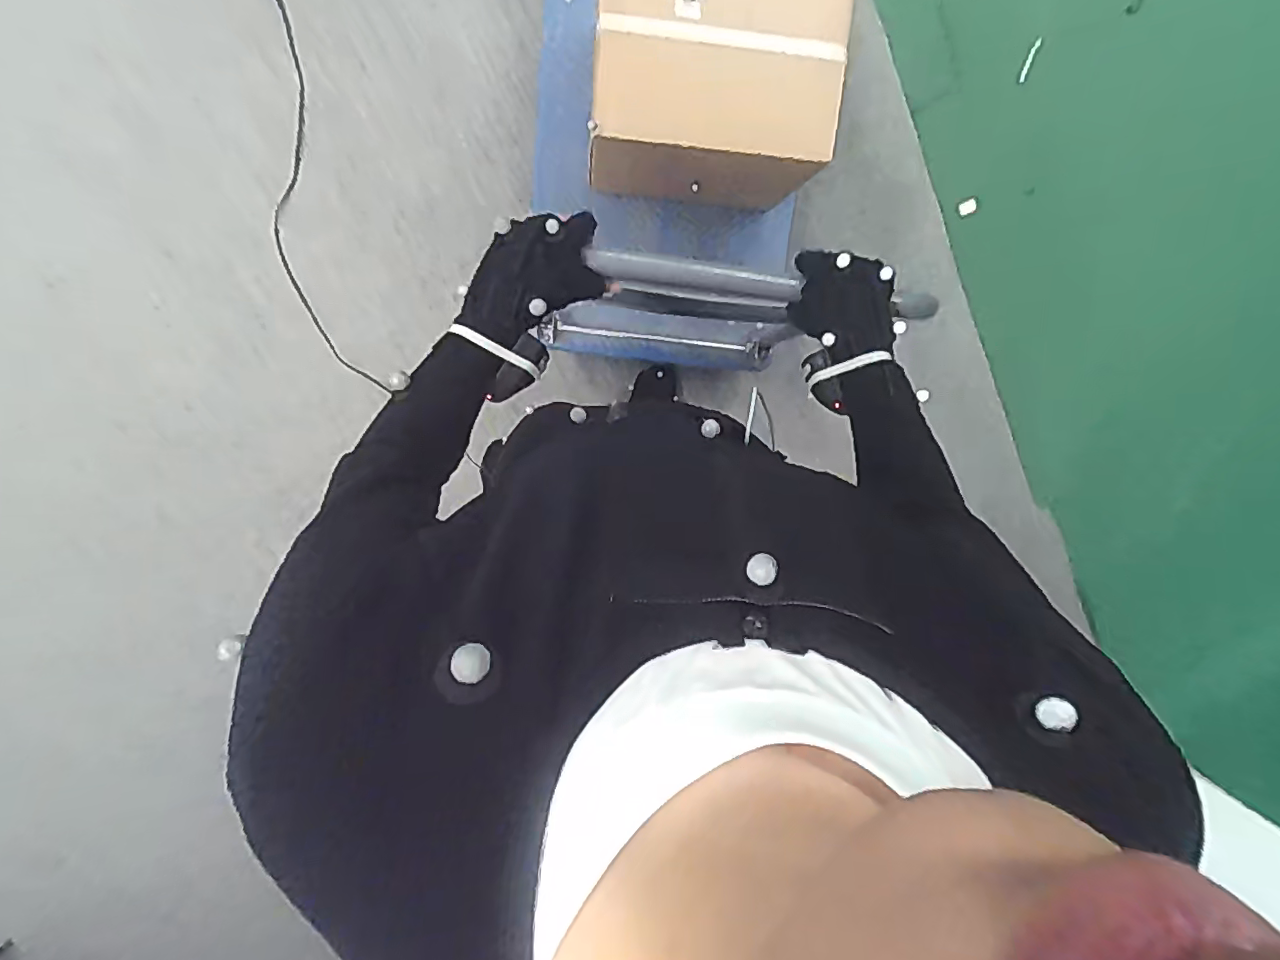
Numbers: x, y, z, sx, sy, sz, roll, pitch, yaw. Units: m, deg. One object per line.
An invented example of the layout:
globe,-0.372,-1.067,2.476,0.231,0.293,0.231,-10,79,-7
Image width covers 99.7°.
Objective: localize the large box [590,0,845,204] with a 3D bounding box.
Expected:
large box,0.116,-0.729,1.008,0.408,0.320,0.320,2,102,-6
